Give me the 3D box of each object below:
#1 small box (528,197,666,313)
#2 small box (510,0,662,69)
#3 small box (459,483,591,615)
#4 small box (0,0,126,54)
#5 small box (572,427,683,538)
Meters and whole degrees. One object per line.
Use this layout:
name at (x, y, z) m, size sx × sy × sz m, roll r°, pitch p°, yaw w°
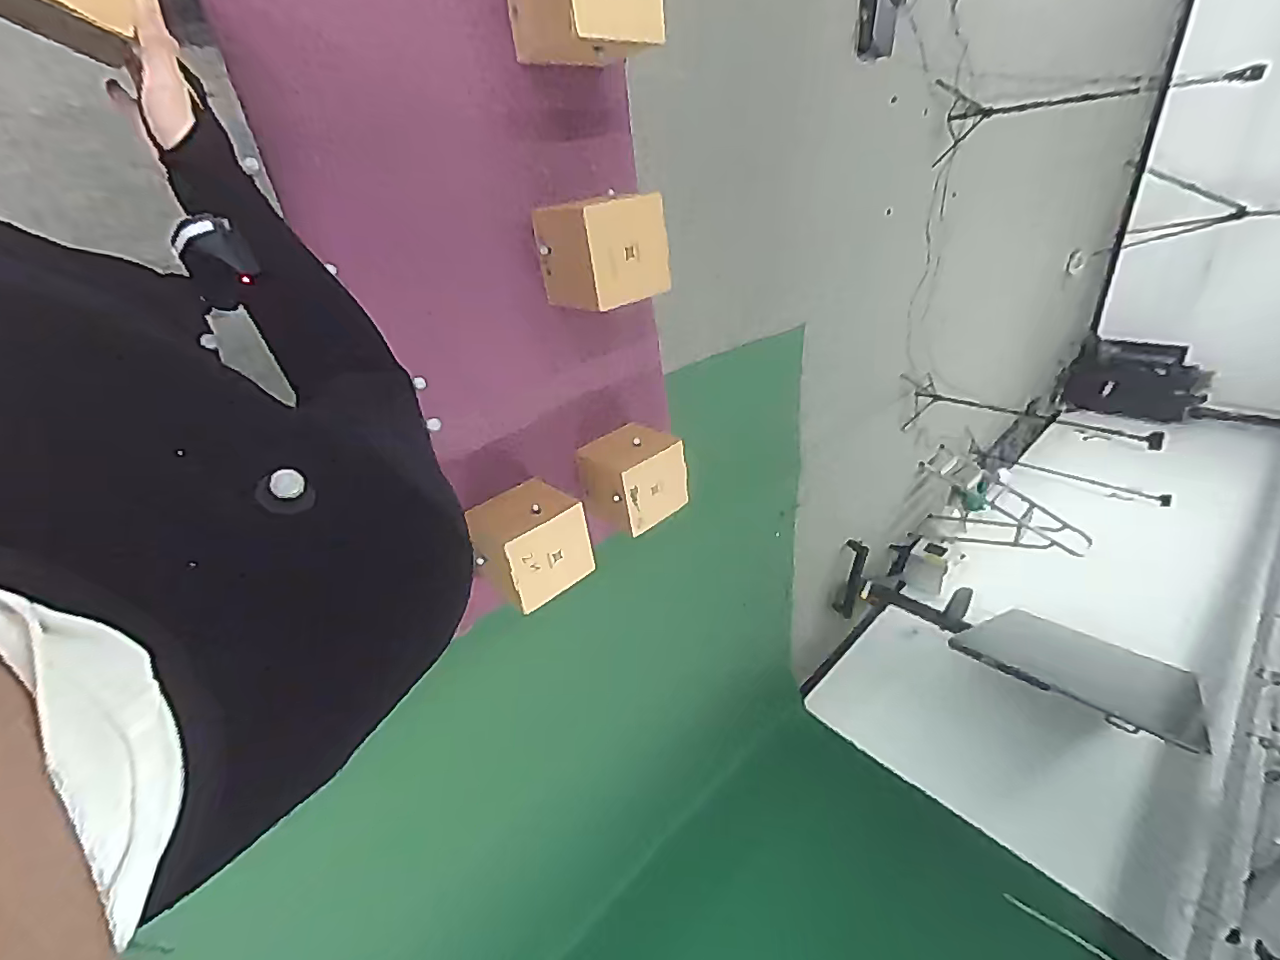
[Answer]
small box at (-0.076, -0.414, 0.985) m, size 0.179 × 0.176 × 0.168 m, roll -29°, pitch 125°, yaw -32°
small box at (-0.090, -0.742, 0.818) m, size 0.179 × 0.176 × 0.168 m, roll -27°, pitch 126°, yaw -33°
small box at (-0.225, 0.125, 1.068) m, size 0.179 × 0.176 × 0.168 m, roll -29°, pitch 124°, yaw -34°
small box at (-0.483, -0.455, 0.388) m, size 0.168 × 0.176 × 0.179 m, roll 4°, pitch 109°, yaw -49°
small box at (-0.026, -0.003, 1.213) m, size 0.179 × 0.176 × 0.168 m, roll -31°, pitch 126°, yaw -32°
